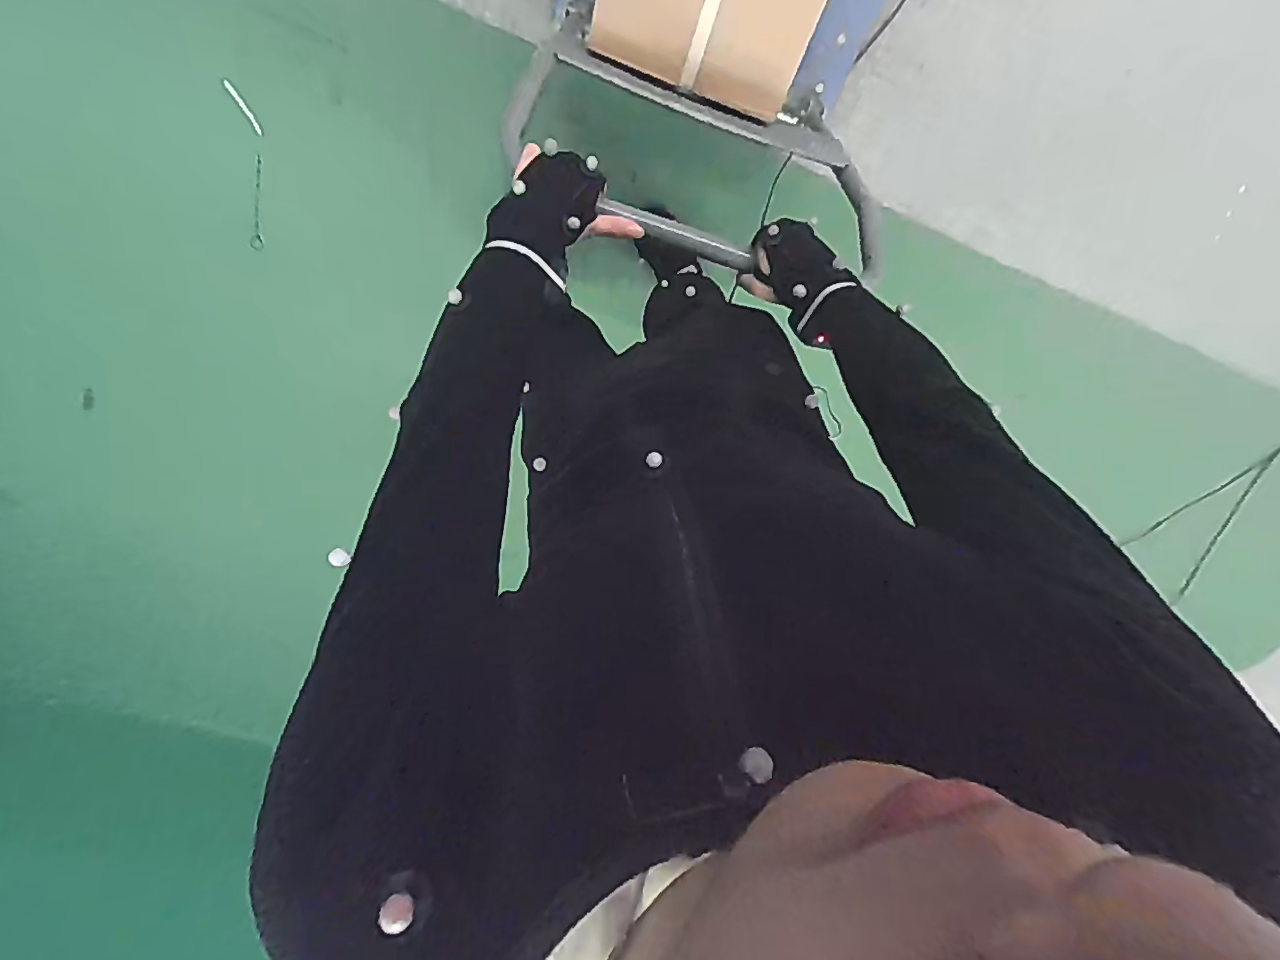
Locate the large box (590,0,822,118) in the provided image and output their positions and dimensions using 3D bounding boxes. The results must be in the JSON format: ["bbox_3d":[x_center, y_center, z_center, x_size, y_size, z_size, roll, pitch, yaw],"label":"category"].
[{"bbox_3d":[0.130,-0.852,0.822,0.320,0.320,0.408,14,132,-12],"label":"large box"}]
